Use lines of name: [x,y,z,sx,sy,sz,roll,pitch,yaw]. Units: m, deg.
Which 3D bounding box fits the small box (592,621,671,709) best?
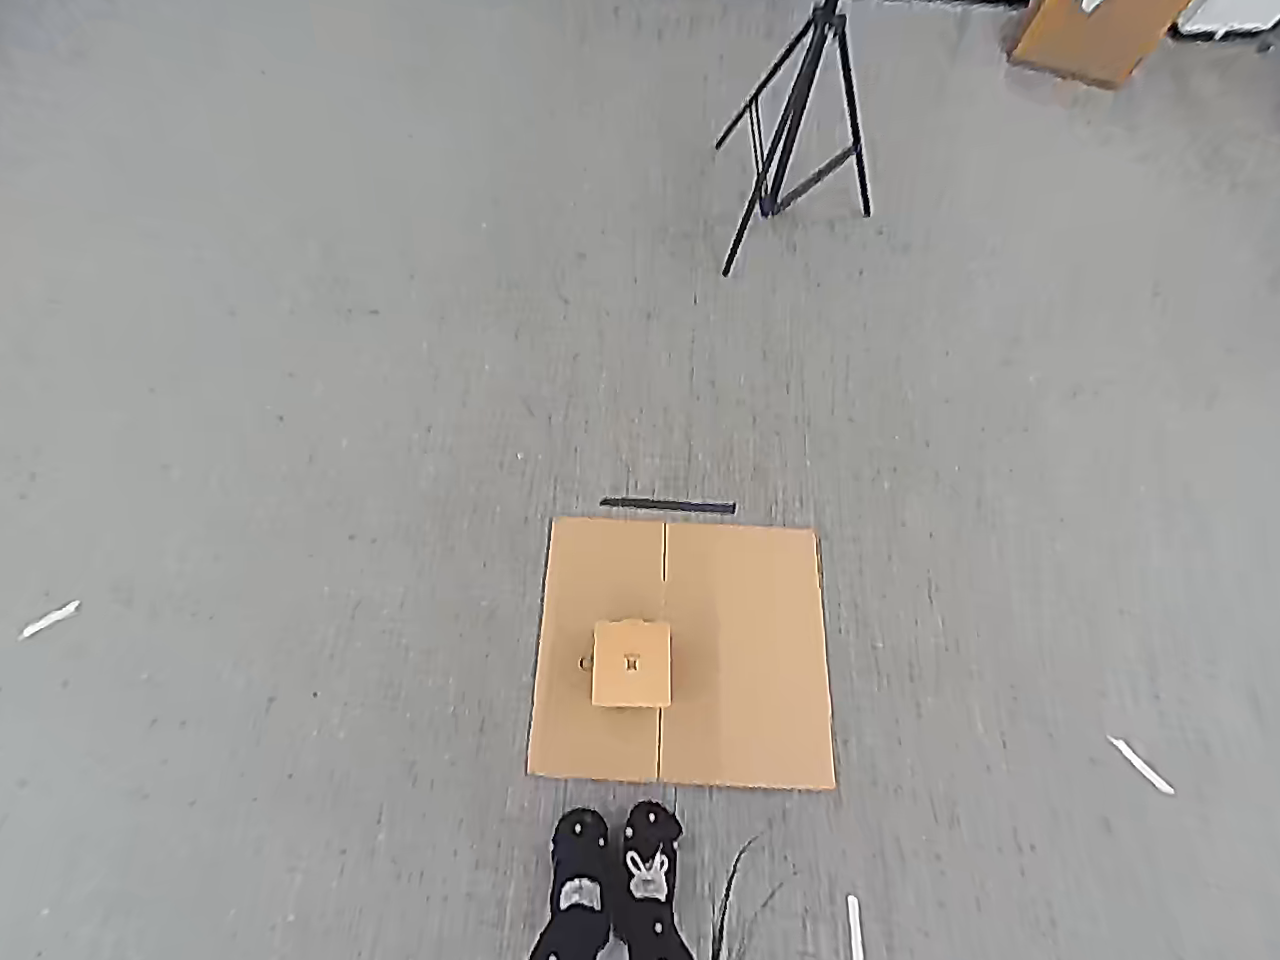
small box: [-0.017,0.417,1.215,0.168,0.176,0.179,1,68,-2]
